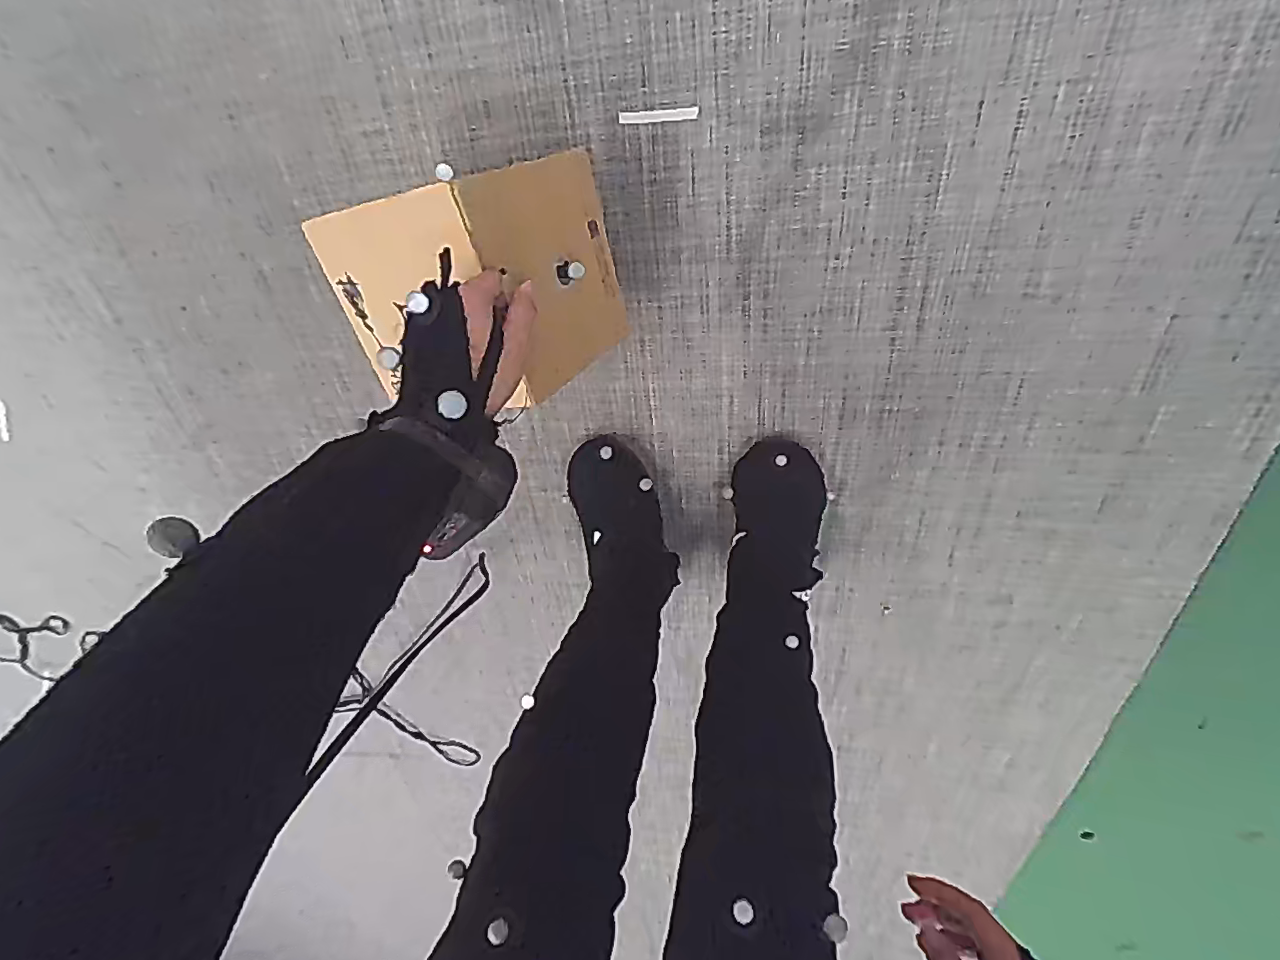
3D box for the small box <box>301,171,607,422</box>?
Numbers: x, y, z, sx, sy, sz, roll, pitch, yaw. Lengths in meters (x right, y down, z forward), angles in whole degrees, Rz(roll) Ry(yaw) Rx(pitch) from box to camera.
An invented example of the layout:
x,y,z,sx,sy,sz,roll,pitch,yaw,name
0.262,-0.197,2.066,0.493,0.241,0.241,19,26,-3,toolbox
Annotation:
x,y,z,sx,sy,sz,roll,pitch,yaw,name
-0.145,-0.165,0.492,0.179,0.176,0.168,4,126,27,small box
